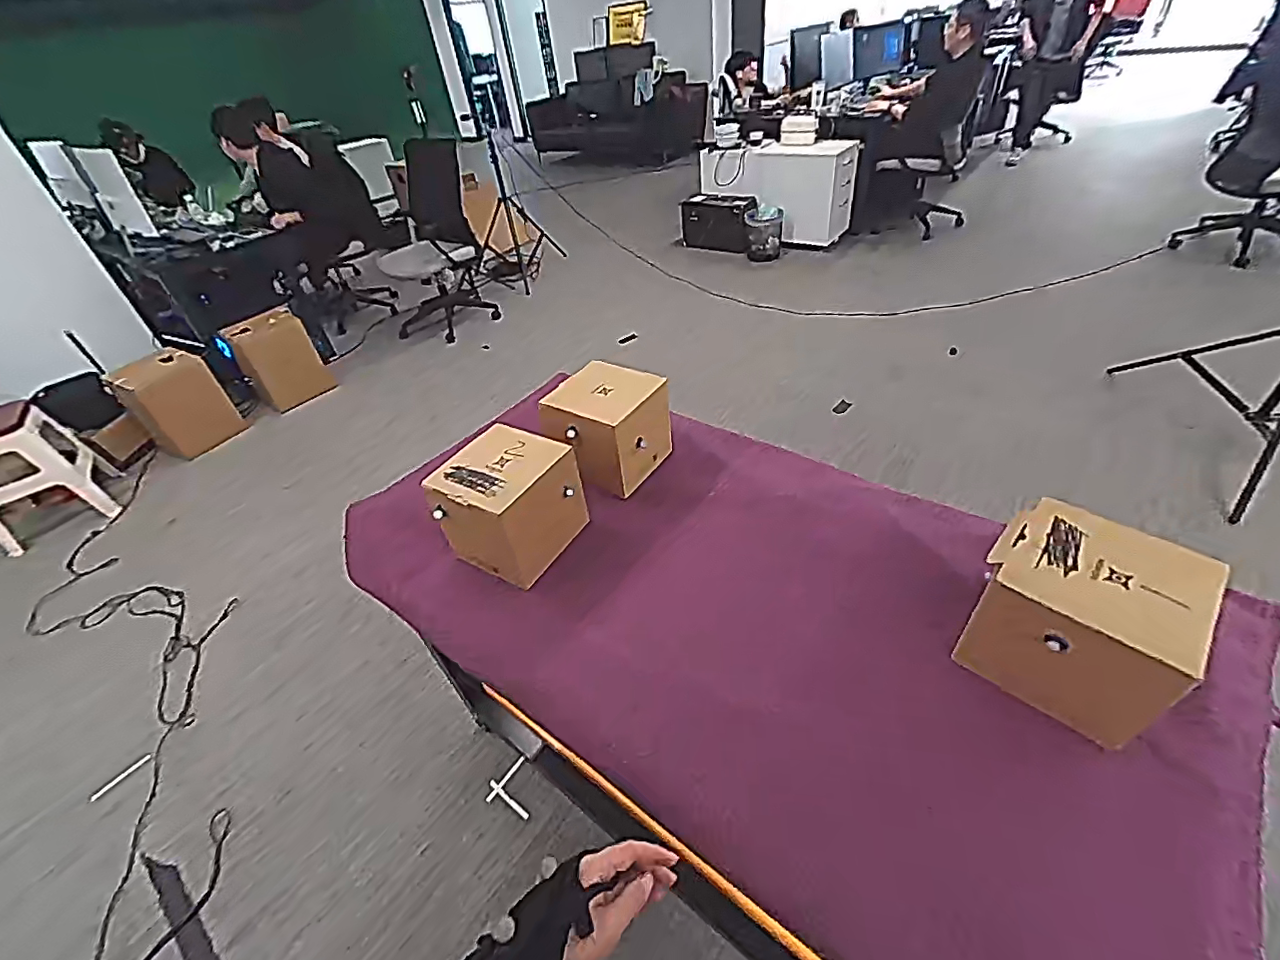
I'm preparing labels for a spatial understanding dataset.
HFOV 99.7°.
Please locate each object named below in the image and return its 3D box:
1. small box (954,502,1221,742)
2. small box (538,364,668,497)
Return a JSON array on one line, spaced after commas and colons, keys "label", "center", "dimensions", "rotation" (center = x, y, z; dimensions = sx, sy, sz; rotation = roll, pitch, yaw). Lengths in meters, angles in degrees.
[{"label": "small box", "center": [0.500, 0.163, 0.629], "dimensions": [0.179, 0.176, 0.168], "rotation": [30, 54, 34]}, {"label": "small box", "center": [-0.059, -0.092, 1.020], "dimensions": [0.179, 0.176, 0.168], "rotation": [20, 48, 29]}]
